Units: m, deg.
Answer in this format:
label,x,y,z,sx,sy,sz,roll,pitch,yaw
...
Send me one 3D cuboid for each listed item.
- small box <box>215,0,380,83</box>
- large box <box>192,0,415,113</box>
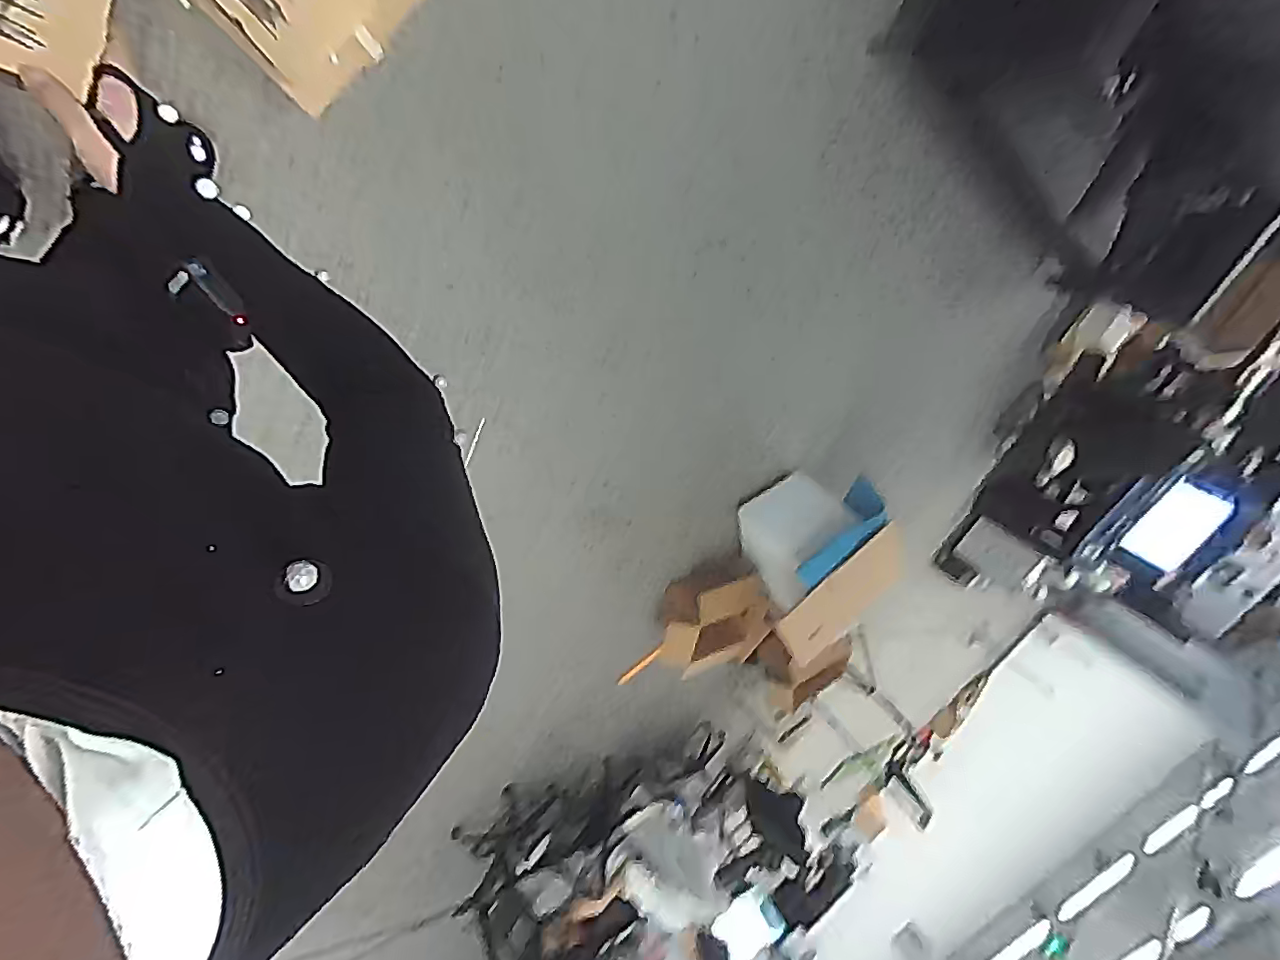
label,x,y,z,sx,sy,sz,roll,pitch,yaw
small box,-0.501,-0.700,0.756,0.179,0.176,0.168,-42,139,1
large box,-0.625,-0.898,0.868,0.320,0.320,0.408,-46,138,3
